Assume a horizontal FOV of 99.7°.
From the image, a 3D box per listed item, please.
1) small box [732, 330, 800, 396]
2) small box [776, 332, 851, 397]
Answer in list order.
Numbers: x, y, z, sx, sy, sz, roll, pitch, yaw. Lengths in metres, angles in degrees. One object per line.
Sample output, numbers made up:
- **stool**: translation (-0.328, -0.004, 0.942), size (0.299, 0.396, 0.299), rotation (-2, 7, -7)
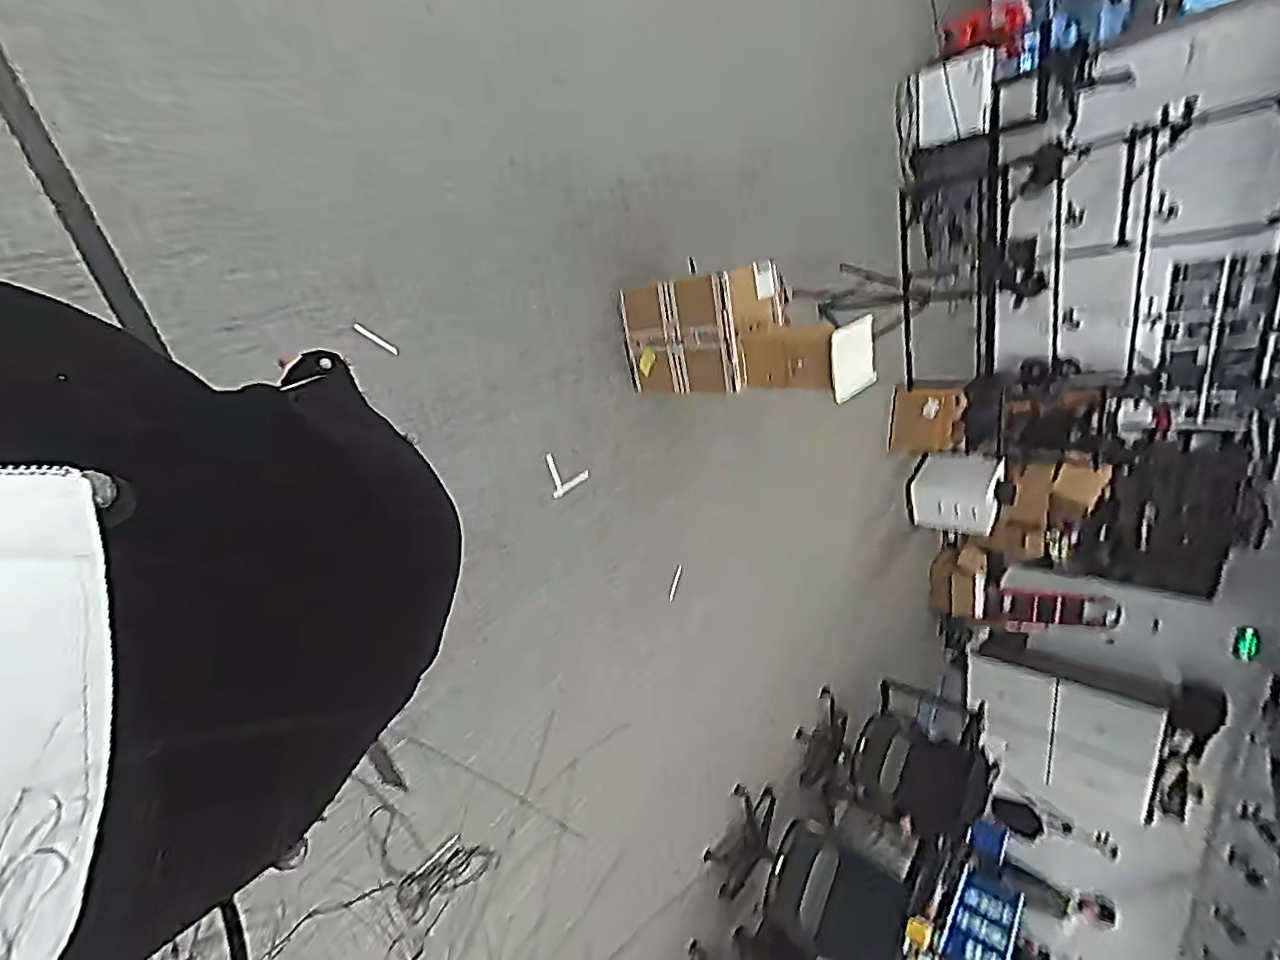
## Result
- **small box**: translation (0.435, -0.400, 1.835), size (0.168, 0.176, 0.179), rotation (-35, 122, -37)
- **small box**: translation (0.554, -0.372, 1.724), size (0.179, 0.176, 0.168), rotation (-30, 119, -38)
